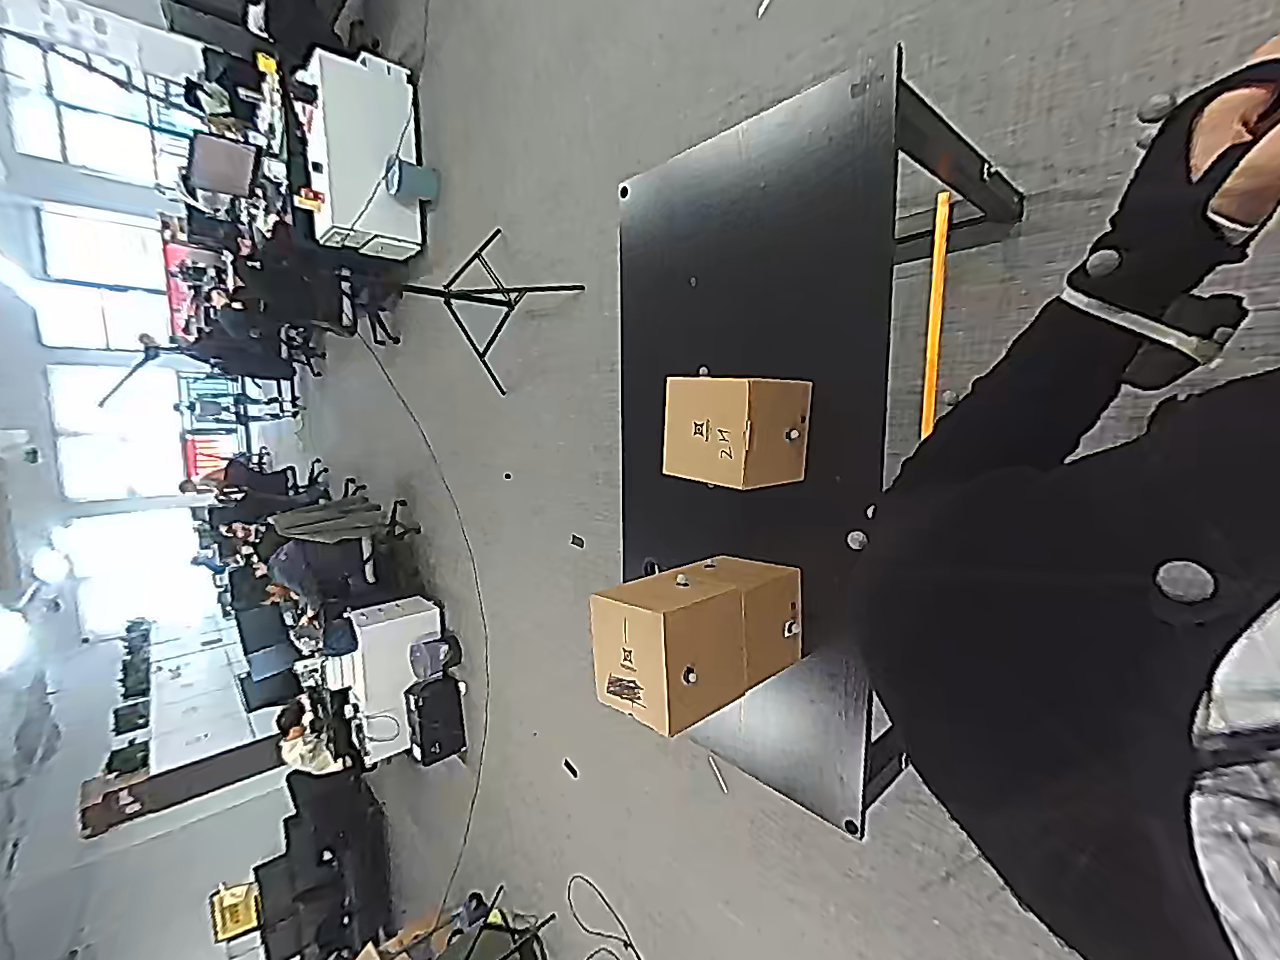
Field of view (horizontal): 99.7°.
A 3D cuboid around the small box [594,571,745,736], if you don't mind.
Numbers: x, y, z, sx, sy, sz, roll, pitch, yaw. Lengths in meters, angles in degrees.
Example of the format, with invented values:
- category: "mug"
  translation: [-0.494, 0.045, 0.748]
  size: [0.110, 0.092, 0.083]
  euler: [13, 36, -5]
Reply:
- category: "small box"
  translation: [0.048, 0.253, 0.837]
  size: [0.168, 0.176, 0.179]
  euler: [1, 96, 49]

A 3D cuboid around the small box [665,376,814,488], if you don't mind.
- category: "small box"
  translation: [0.163, -0.086, 0.906]
  size: [0.179, 0.176, 0.168]
  euler: [13, 106, 47]

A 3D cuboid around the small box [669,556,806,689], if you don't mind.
- category: "small box"
  translation: [0.169, 0.235, 0.948]
  size: [0.179, 0.176, 0.168]
  euler: [2, 98, 48]
